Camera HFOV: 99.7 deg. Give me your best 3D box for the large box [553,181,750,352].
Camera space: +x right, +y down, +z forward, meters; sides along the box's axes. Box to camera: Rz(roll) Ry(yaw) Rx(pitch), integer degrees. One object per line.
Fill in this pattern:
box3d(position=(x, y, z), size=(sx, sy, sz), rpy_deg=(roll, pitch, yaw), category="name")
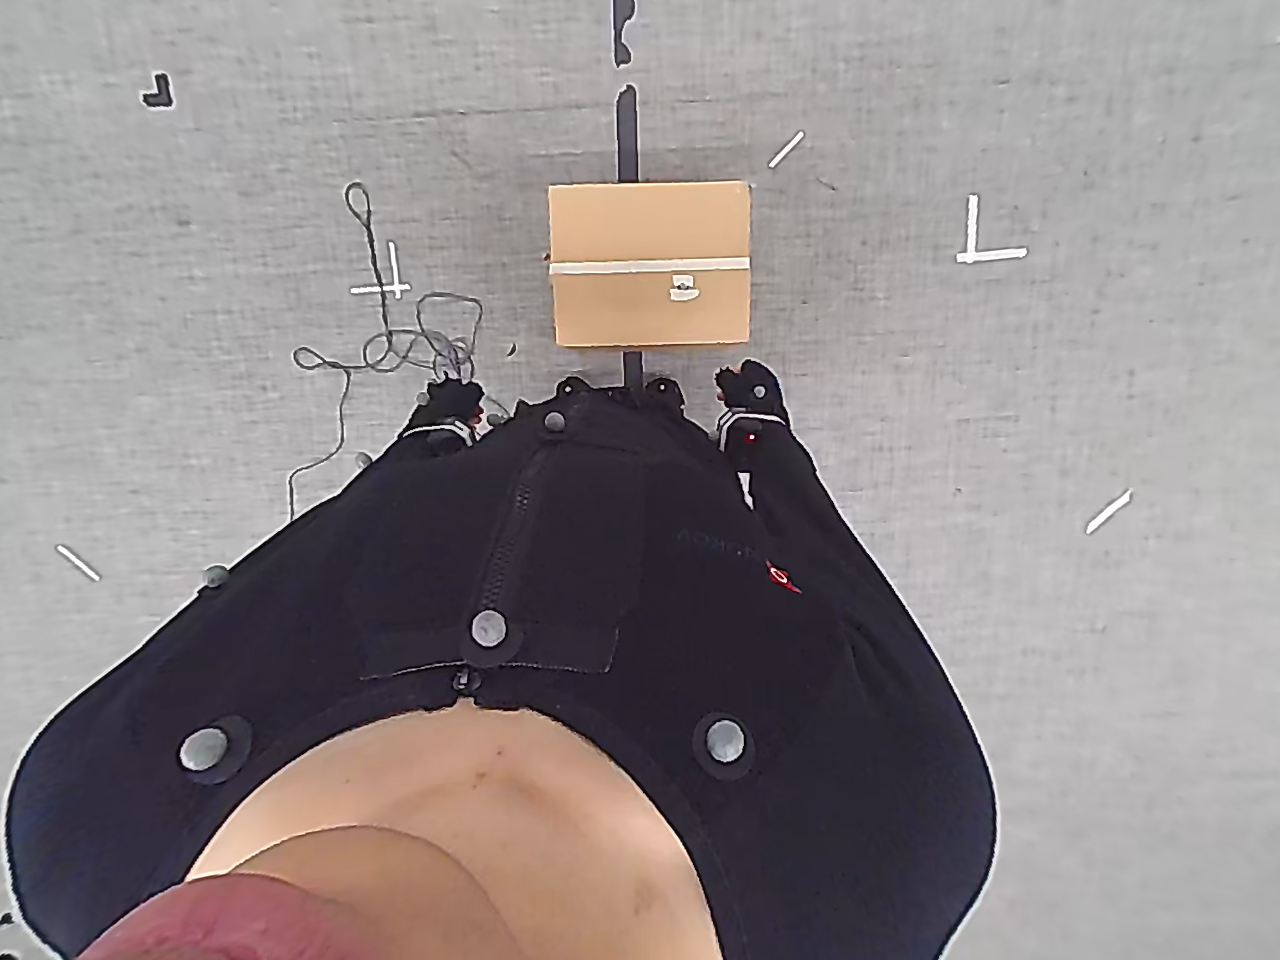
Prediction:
box3d(position=(0.025, -0.472, 1.261), size=(0.408, 0.320, 0.320), rpy_deg=(-2, 102, 0), category="large box")
